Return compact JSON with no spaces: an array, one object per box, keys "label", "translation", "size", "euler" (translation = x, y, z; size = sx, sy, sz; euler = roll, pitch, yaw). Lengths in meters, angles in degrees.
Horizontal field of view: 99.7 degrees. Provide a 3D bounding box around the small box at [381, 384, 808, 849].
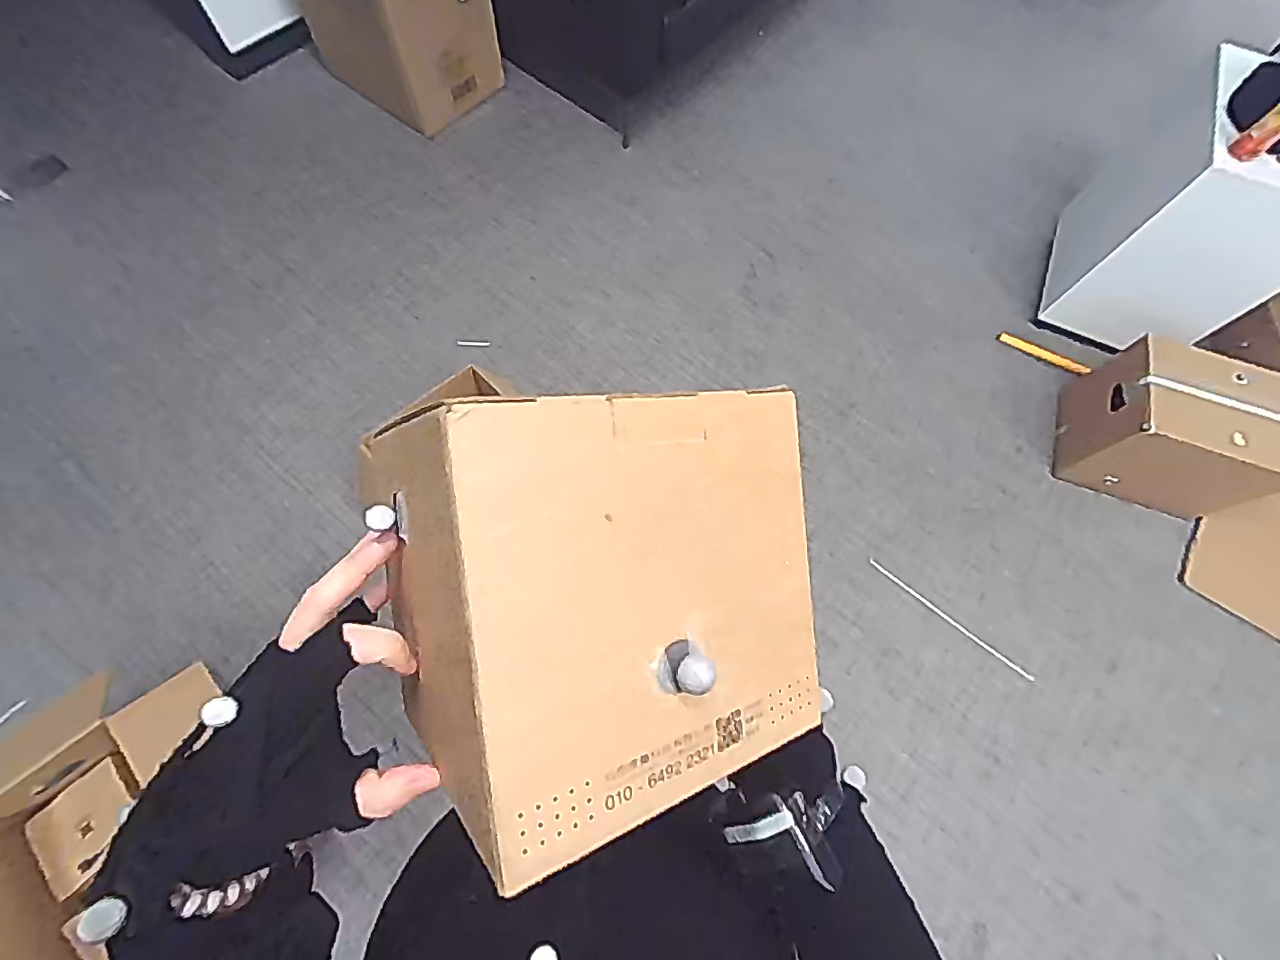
[{"label":"small box","translation":[-0.033,0.045,0.292],"size":[0.168,0.179,0.176],"euler":[-8,95,-33]}]
